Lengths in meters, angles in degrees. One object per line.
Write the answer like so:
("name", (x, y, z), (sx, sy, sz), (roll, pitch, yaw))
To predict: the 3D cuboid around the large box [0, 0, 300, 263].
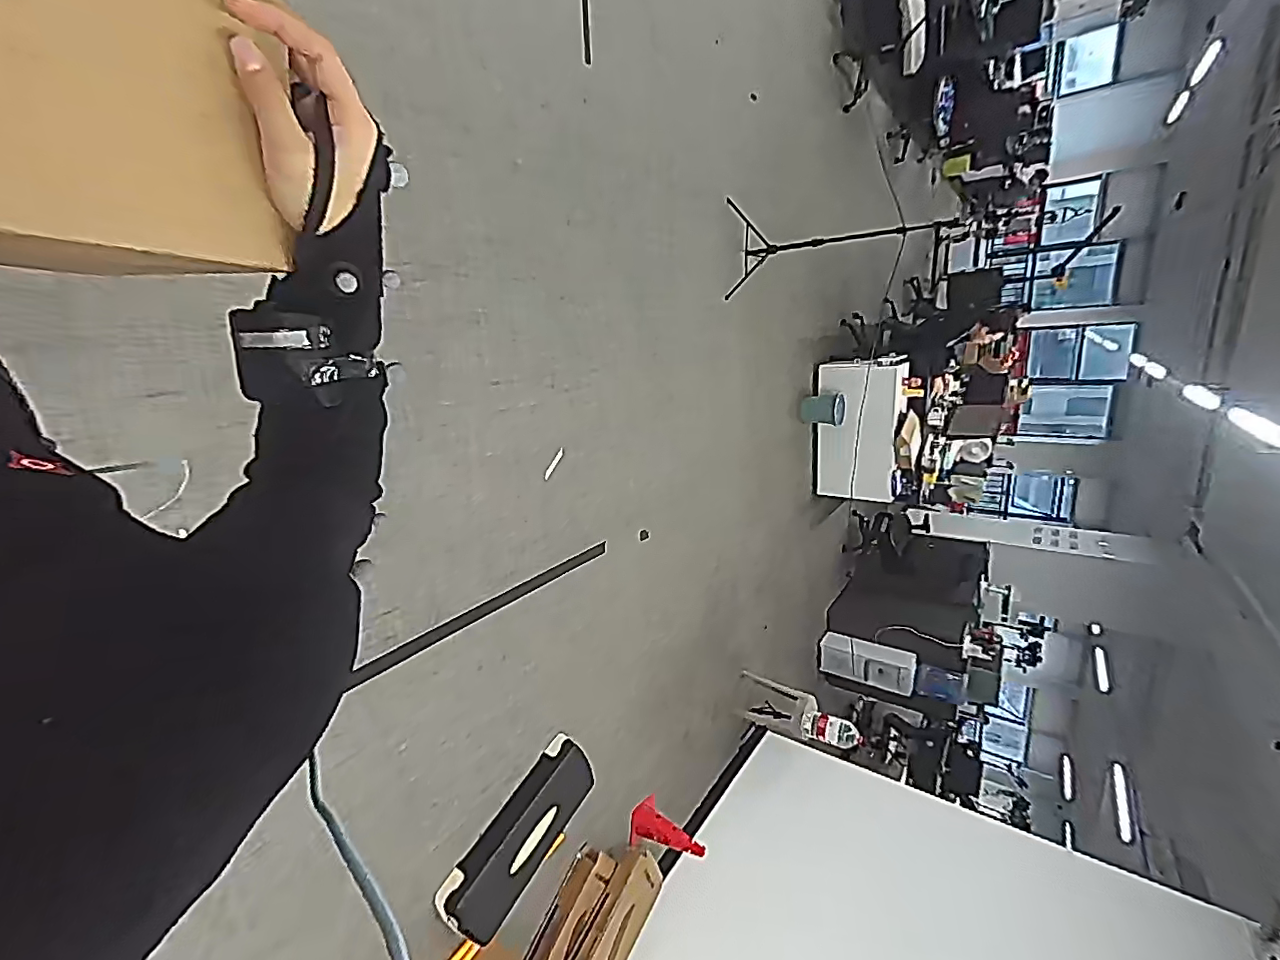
("large box", (-0.438, -0.278, 0.214), (0.408, 0.320, 0.320), (-20, 118, -58))
